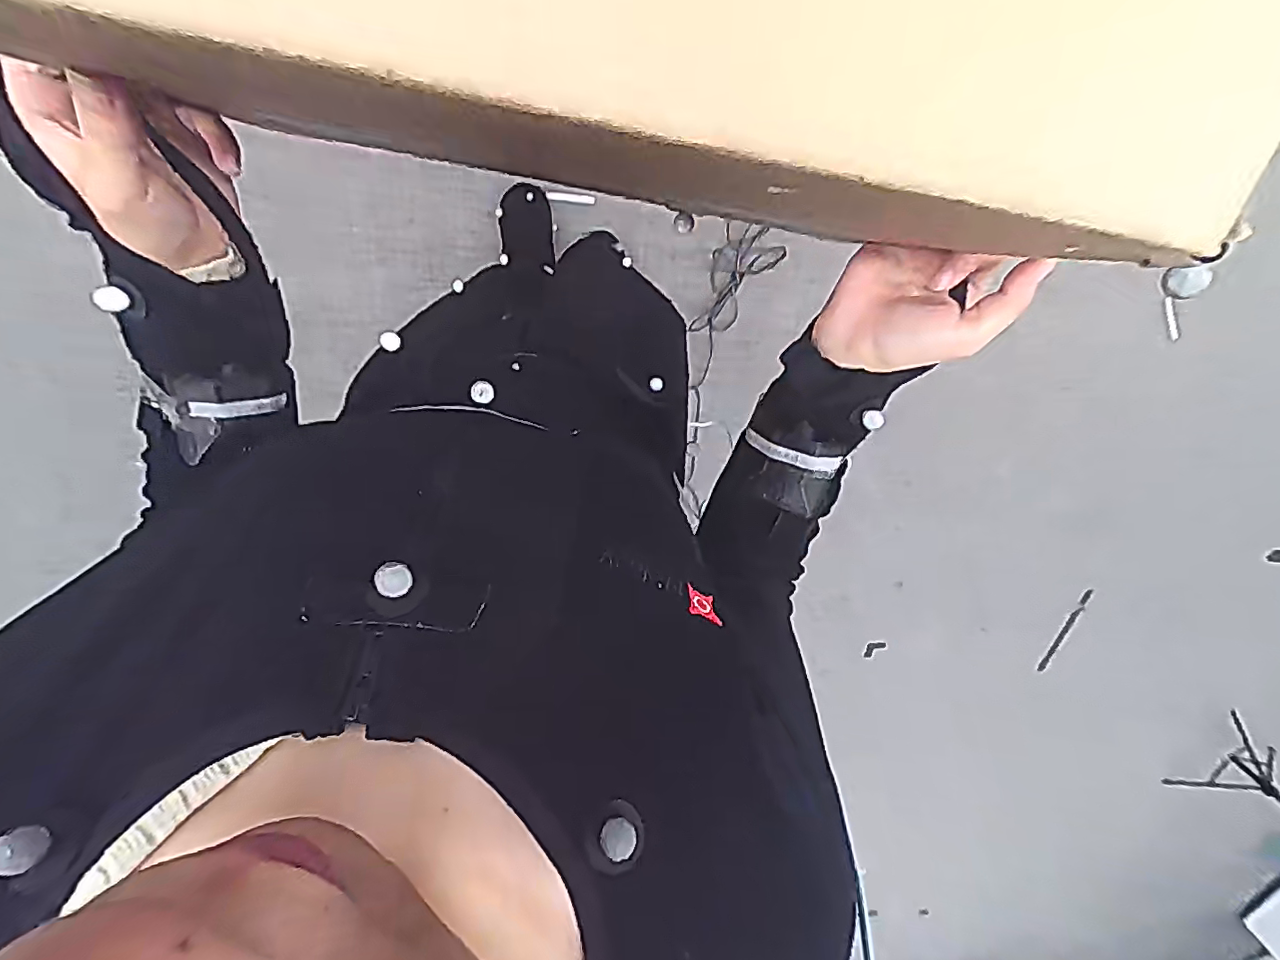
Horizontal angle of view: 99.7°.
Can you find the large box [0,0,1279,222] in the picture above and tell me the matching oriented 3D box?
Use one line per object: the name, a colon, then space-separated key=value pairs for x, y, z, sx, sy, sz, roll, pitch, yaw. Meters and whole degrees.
large box: x=-0.007 y=-0.302 z=0.200 sx=0.408 sy=0.320 sz=0.320 roll=5 pitch=116 yaw=-9
